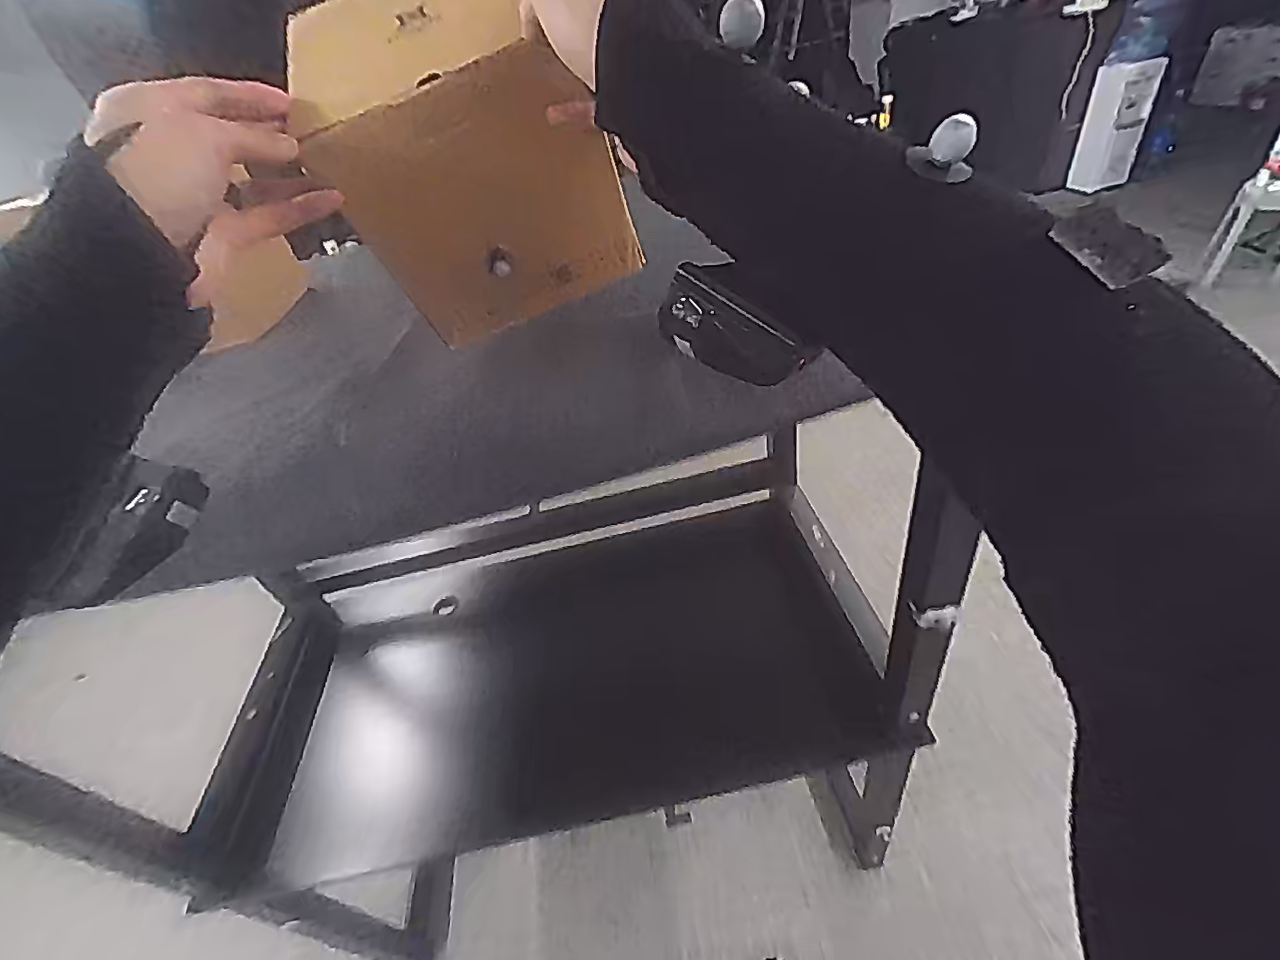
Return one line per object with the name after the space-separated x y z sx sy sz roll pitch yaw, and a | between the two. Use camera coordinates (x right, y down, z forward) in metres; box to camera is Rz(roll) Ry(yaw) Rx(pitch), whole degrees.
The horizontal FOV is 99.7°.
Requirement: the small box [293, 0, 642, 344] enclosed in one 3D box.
-0.113 -0.235 0.392 0.168 0.176 0.179 -23 60 2 | small box

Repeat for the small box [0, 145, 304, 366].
-0.512 -0.238 0.592 0.168 0.176 0.179 -11 41 2 | small box
